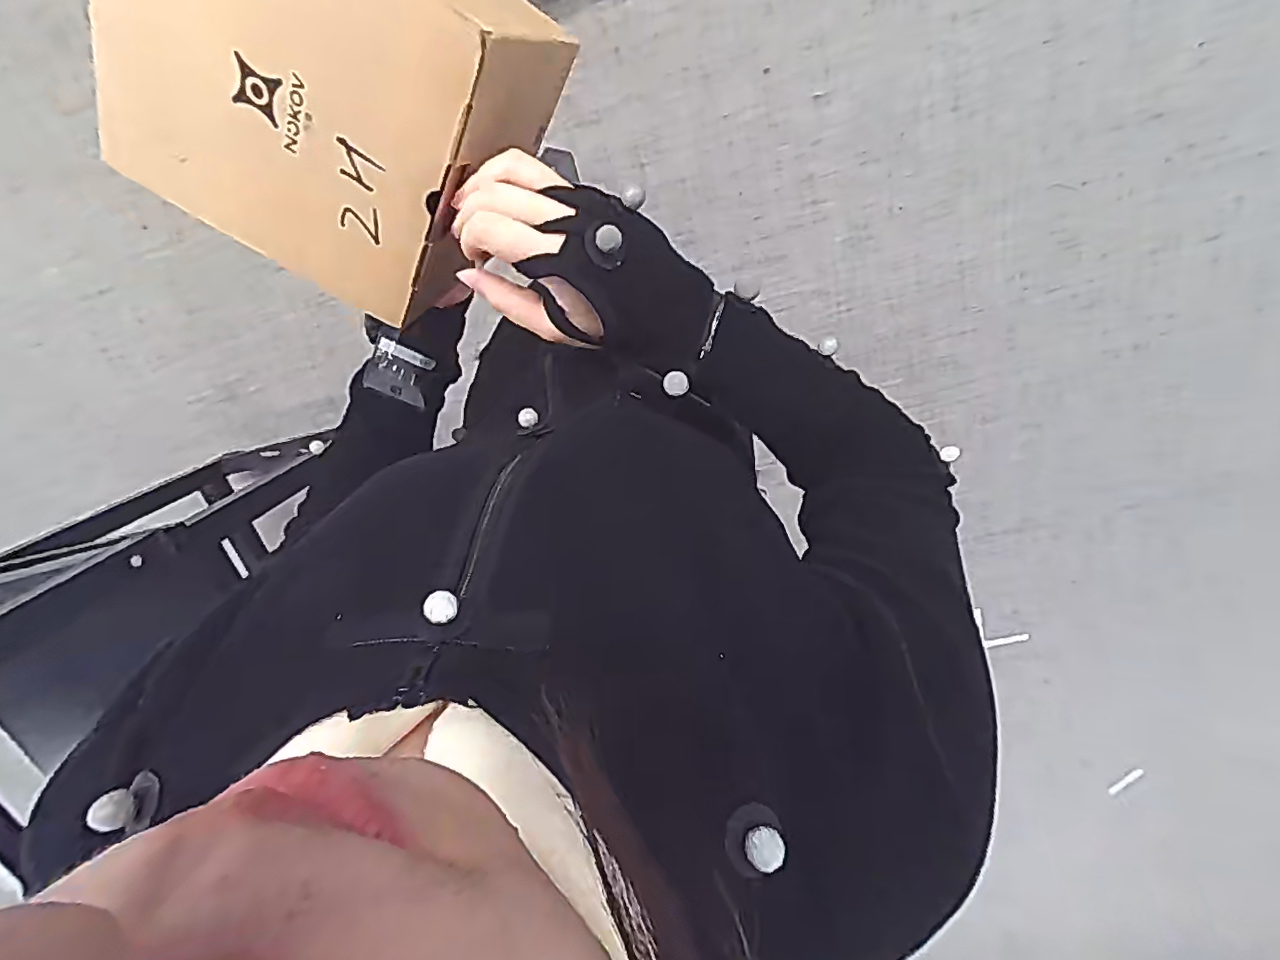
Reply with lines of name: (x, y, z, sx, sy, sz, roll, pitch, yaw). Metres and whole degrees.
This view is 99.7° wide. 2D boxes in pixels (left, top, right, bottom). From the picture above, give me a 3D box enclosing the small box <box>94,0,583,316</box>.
small box: (-0.157, -0.236, 0.319, 0.179, 0.176, 0.168, 29, 127, -13)
